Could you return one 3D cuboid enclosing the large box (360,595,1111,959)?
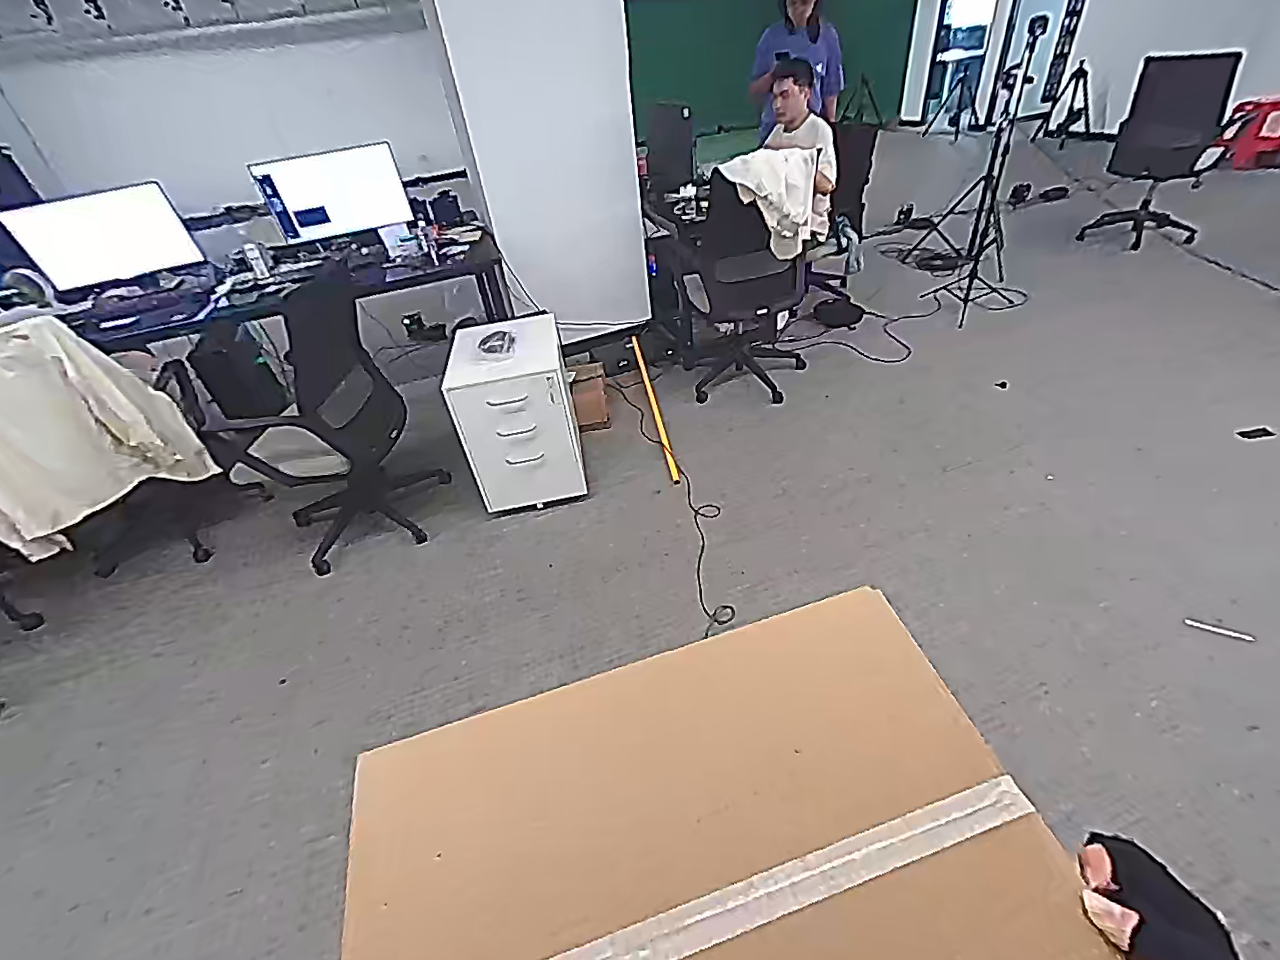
[{"bbox_3d":[0.053,0.351,0.423,0.408,0.320,0.320,-17,47,-7],"label":"large box"}]
